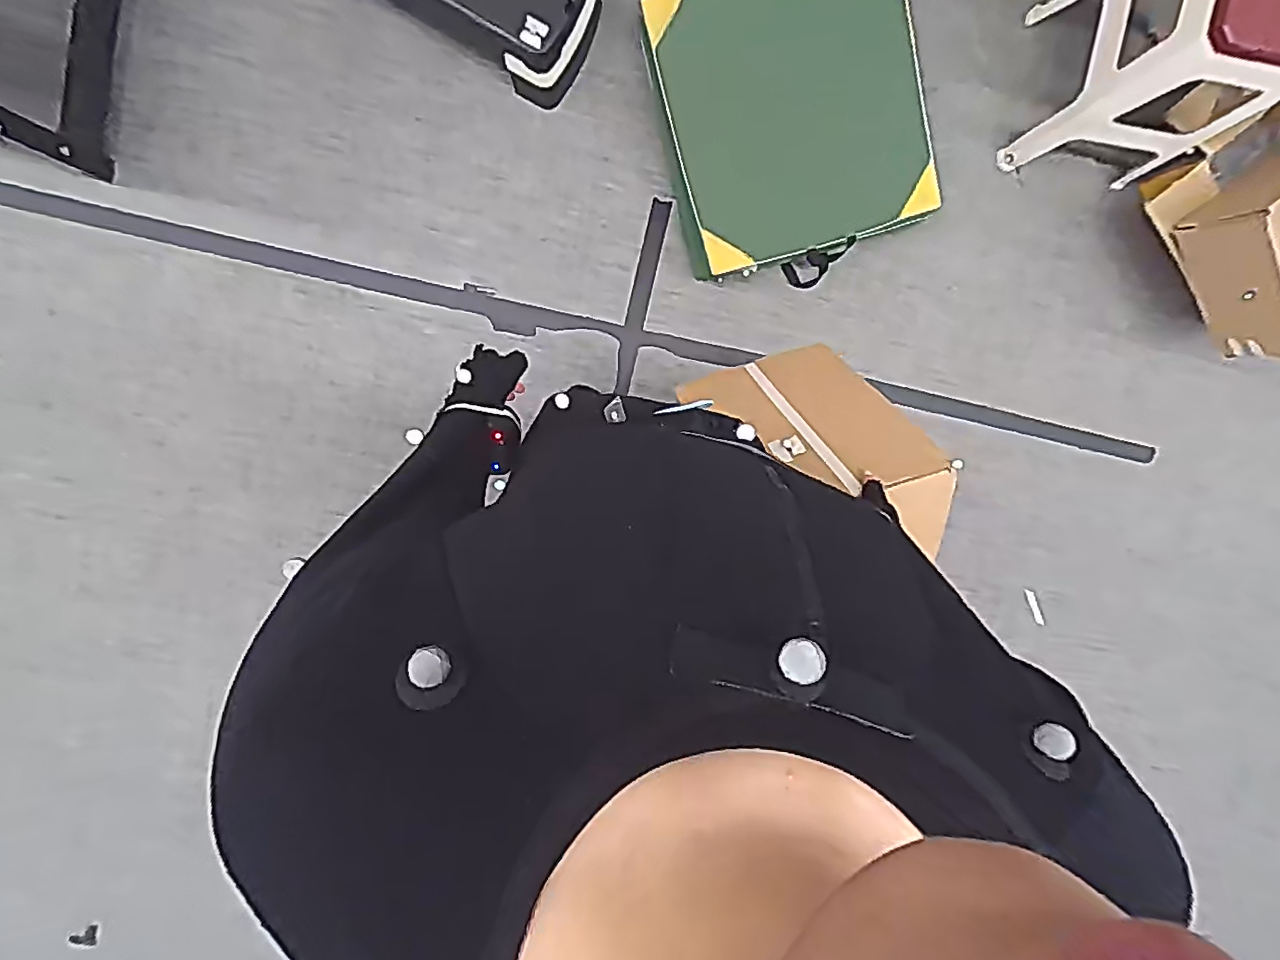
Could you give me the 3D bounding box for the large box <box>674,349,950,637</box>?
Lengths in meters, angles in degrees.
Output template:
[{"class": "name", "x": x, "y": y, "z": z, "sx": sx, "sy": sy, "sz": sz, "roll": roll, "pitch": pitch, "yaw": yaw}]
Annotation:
[{"class": "large box", "x": 0.284, "y": 0.012, "z": 1.024, "sx": 0.320, "sy": 0.408, "sz": 0.320, "roll": -18, "pitch": 133, "yaw": -3}]
